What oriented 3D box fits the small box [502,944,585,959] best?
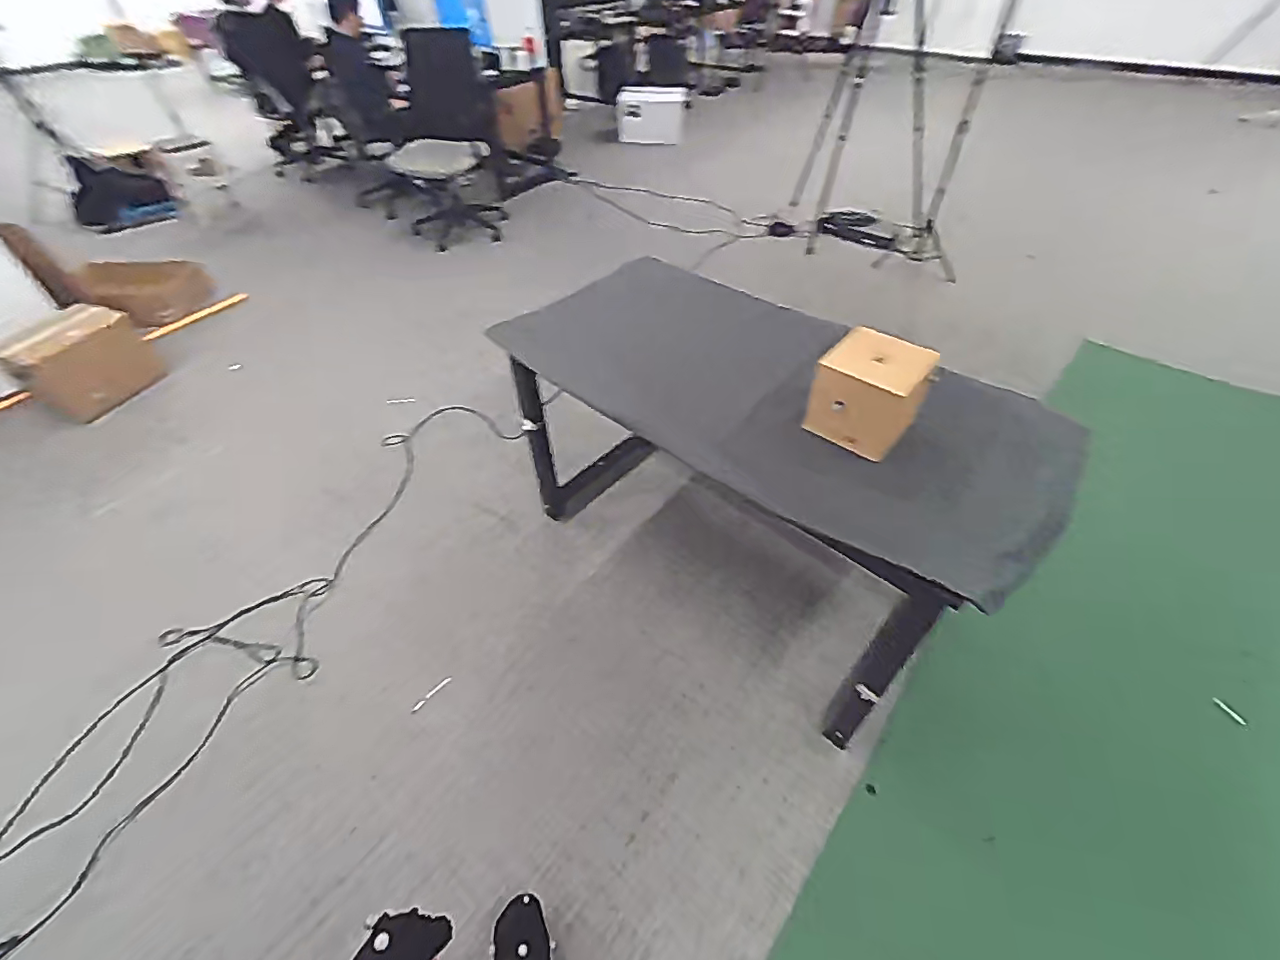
[{"bbox_3d":[-0.184,1.001,1.012,0.168,0.176,0.179,18,51,-13],"label":"small box"}]

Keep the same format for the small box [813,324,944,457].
[{"bbox_3d":[0.461,-0.175,1.070,0.168,0.176,0.179,32,55,28],"label":"small box"}]
